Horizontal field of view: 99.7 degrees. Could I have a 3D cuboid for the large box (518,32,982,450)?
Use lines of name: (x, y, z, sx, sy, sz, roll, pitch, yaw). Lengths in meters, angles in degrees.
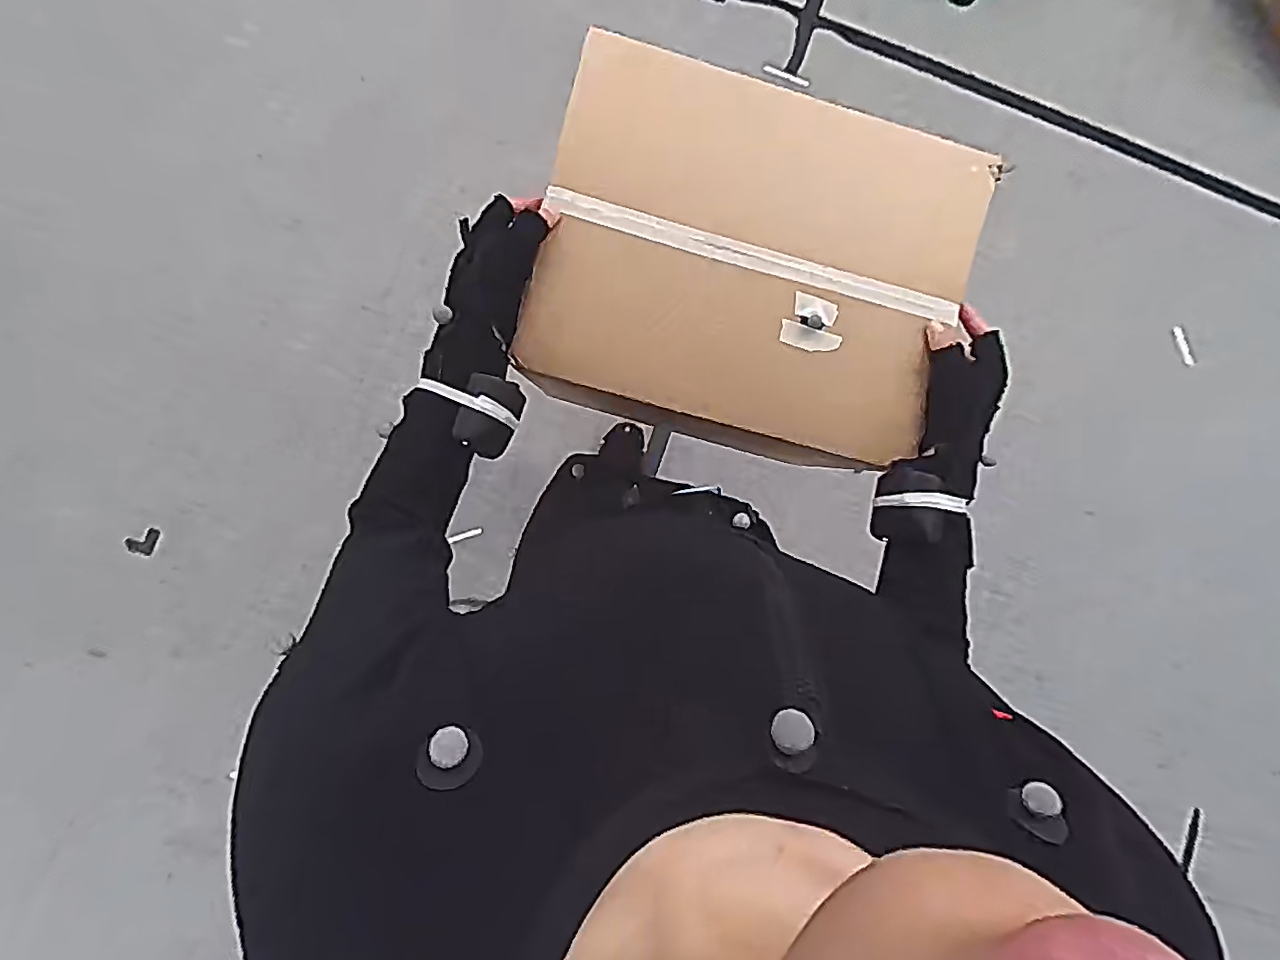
large box: (0.098, -0.233, 0.671, 0.408, 0.320, 0.320, 15, 94, -4)
